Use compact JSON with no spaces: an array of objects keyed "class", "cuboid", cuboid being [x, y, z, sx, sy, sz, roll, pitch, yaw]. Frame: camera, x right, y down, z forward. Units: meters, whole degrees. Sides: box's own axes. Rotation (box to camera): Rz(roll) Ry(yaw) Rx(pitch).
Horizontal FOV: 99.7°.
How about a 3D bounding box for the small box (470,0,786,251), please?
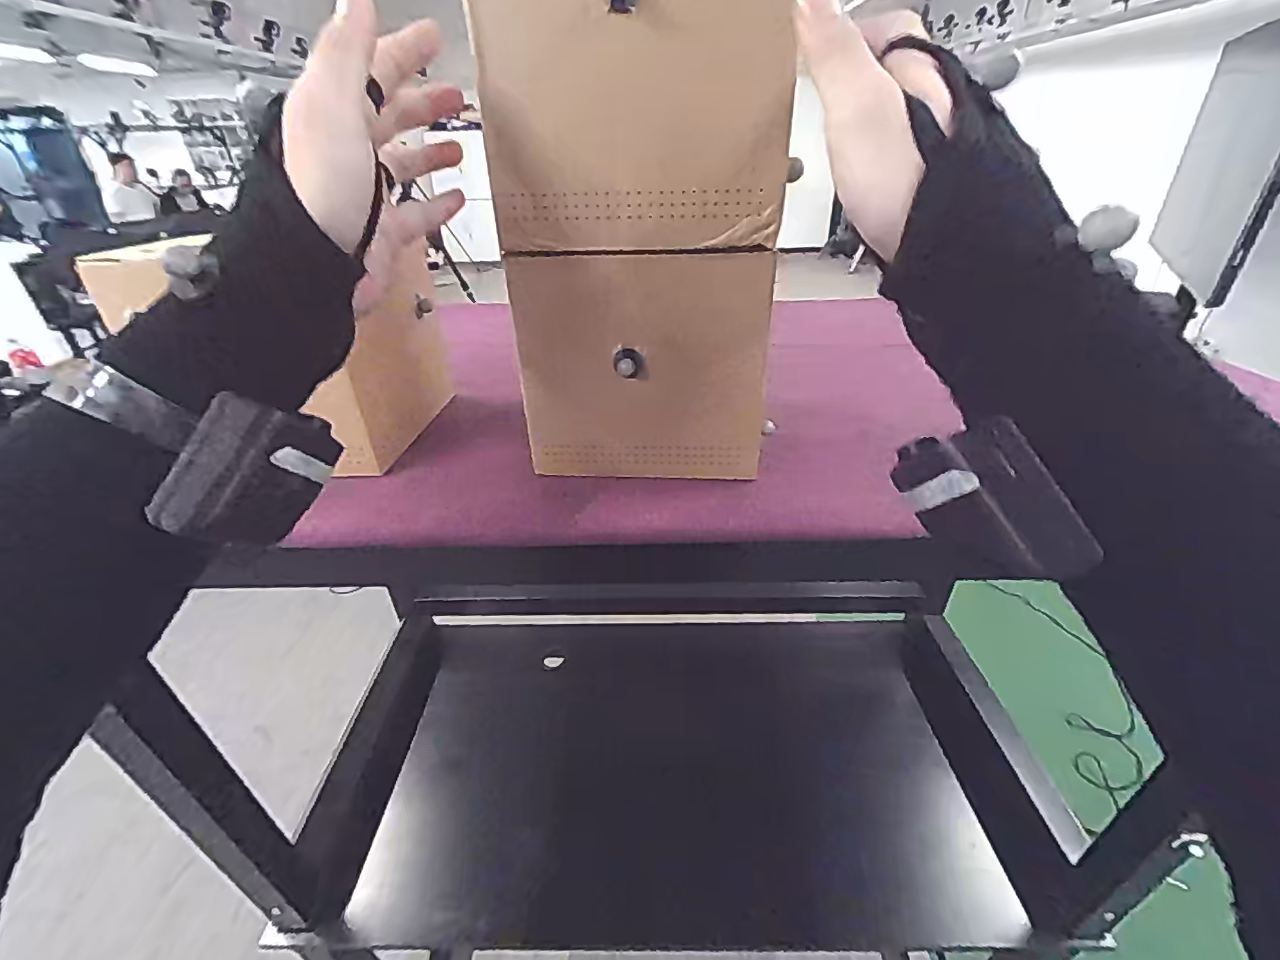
[{"class":"small box","cuboid":[0.000,-0.255,0.364,0.179,0.176,0.168,2,32,7]}]
